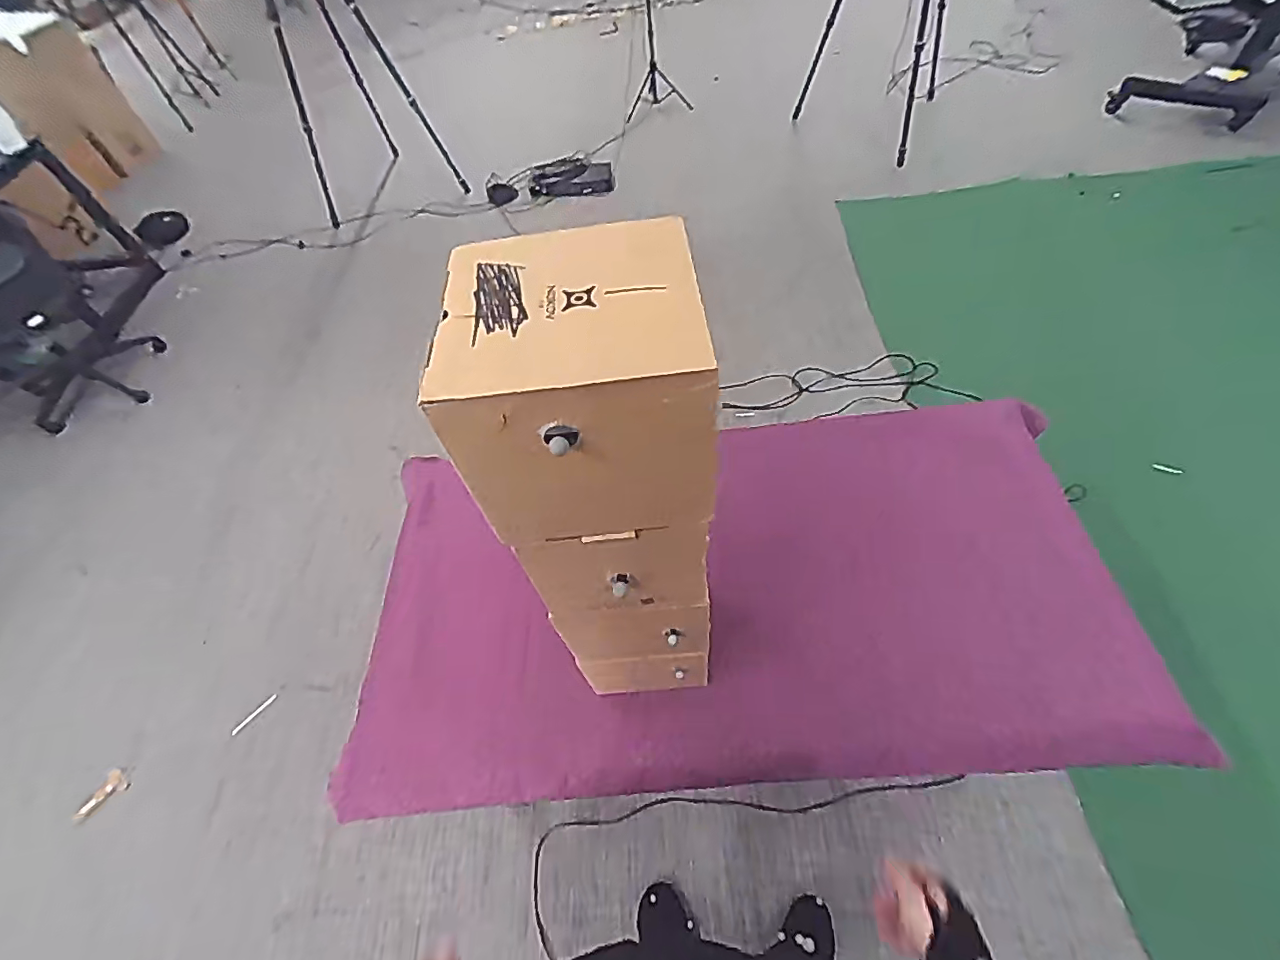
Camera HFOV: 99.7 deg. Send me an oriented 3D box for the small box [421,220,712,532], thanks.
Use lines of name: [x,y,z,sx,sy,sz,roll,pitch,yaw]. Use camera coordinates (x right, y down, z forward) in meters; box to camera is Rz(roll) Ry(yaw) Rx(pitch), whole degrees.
small box: [-0.039,-0.072,0.422,0.179,0.176,0.168,-6,54,2]

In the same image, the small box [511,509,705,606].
small box: [-0.024,0.021,0.558,0.168,0.176,0.179,-6,55,2]

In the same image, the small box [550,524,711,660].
small box: [-0.007,0.119,0.687,0.179,0.176,0.168,-6,54,4]
